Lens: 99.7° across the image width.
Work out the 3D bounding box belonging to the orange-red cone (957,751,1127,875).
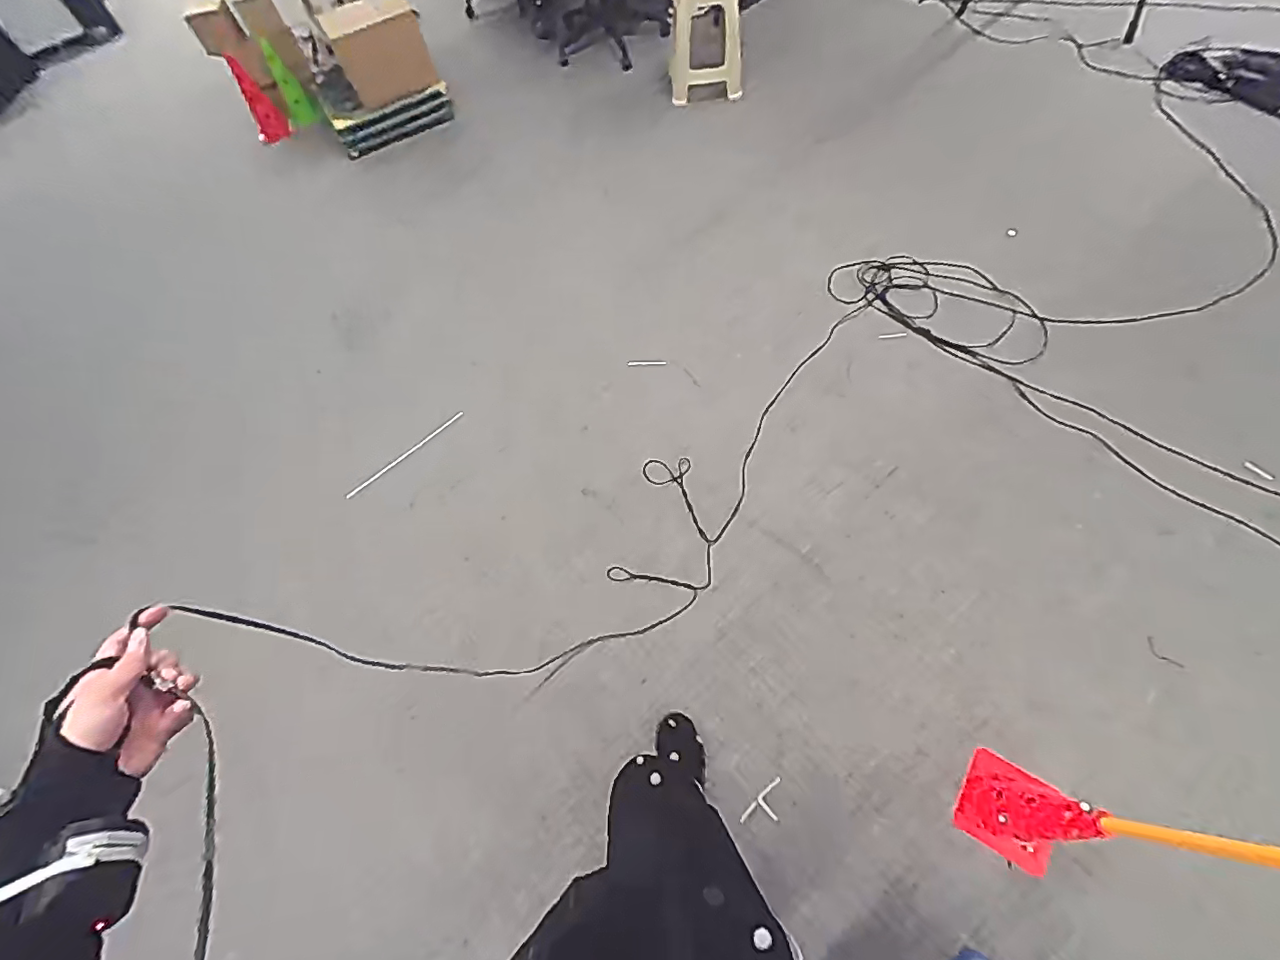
[{"bbox_3d":[0.847,0.687,1.104,0.198,0.360,0.199,29,68,18],"label":"orange-red cone"}]
